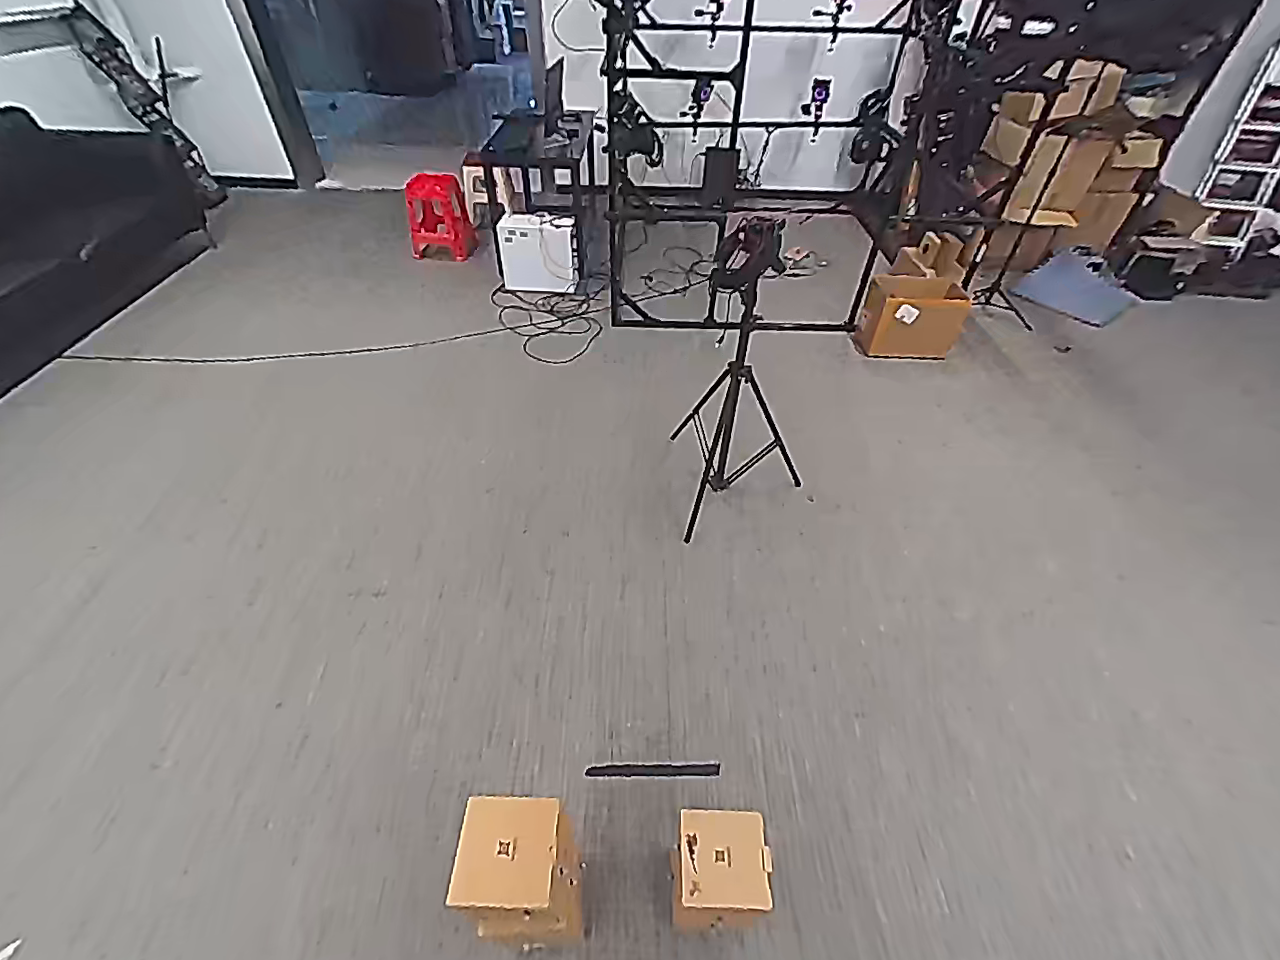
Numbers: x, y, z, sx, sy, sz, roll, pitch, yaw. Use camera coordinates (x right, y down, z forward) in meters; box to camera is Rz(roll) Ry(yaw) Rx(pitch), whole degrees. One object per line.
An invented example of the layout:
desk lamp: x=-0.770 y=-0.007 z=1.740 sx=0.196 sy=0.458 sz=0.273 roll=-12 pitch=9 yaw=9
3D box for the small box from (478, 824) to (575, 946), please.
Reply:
small box: x=-0.223 y=0.832 z=1.113 sx=0.168 sy=0.176 sz=0.179 roll=-3 pitch=45 yaw=-3

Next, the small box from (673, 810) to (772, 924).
small box: x=0.166 y=0.816 z=1.137 sx=0.179 sy=0.176 sz=0.168 roll=3 pitch=44 yaw=0

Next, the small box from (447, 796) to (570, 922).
small box: x=-0.233 y=0.708 z=1.007 sx=0.179 sy=0.176 sz=0.168 roll=1 pitch=44 yaw=0

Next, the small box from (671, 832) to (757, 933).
small box: x=0.162 y=0.934 z=1.252 sx=0.179 sy=0.176 sz=0.168 roll=2 pitch=45 yaw=0

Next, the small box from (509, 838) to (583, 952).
small box: x=-0.218 y=0.945 z=1.231 sx=0.168 sy=0.176 sz=0.179 roll=-3 pitch=45 yaw=-4
